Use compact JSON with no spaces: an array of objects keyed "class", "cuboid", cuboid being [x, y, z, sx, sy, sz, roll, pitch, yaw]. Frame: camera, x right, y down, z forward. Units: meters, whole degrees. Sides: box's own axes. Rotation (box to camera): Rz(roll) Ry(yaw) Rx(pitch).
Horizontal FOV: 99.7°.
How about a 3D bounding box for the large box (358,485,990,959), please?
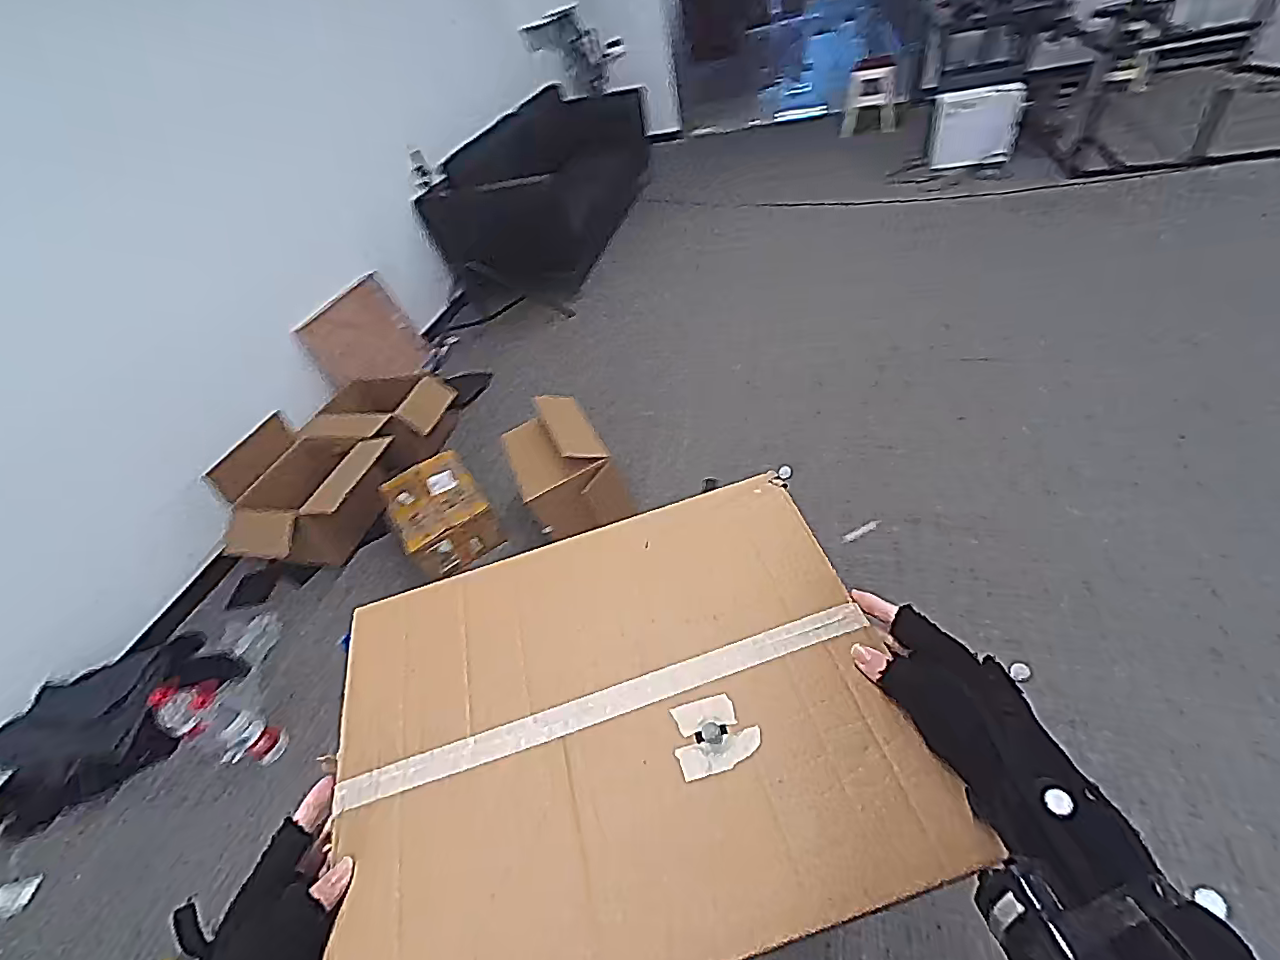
[{"class":"large box","cuboid":[0.010,0.266,0.523,0.408,0.320,0.320,-17,50,-3]}]
